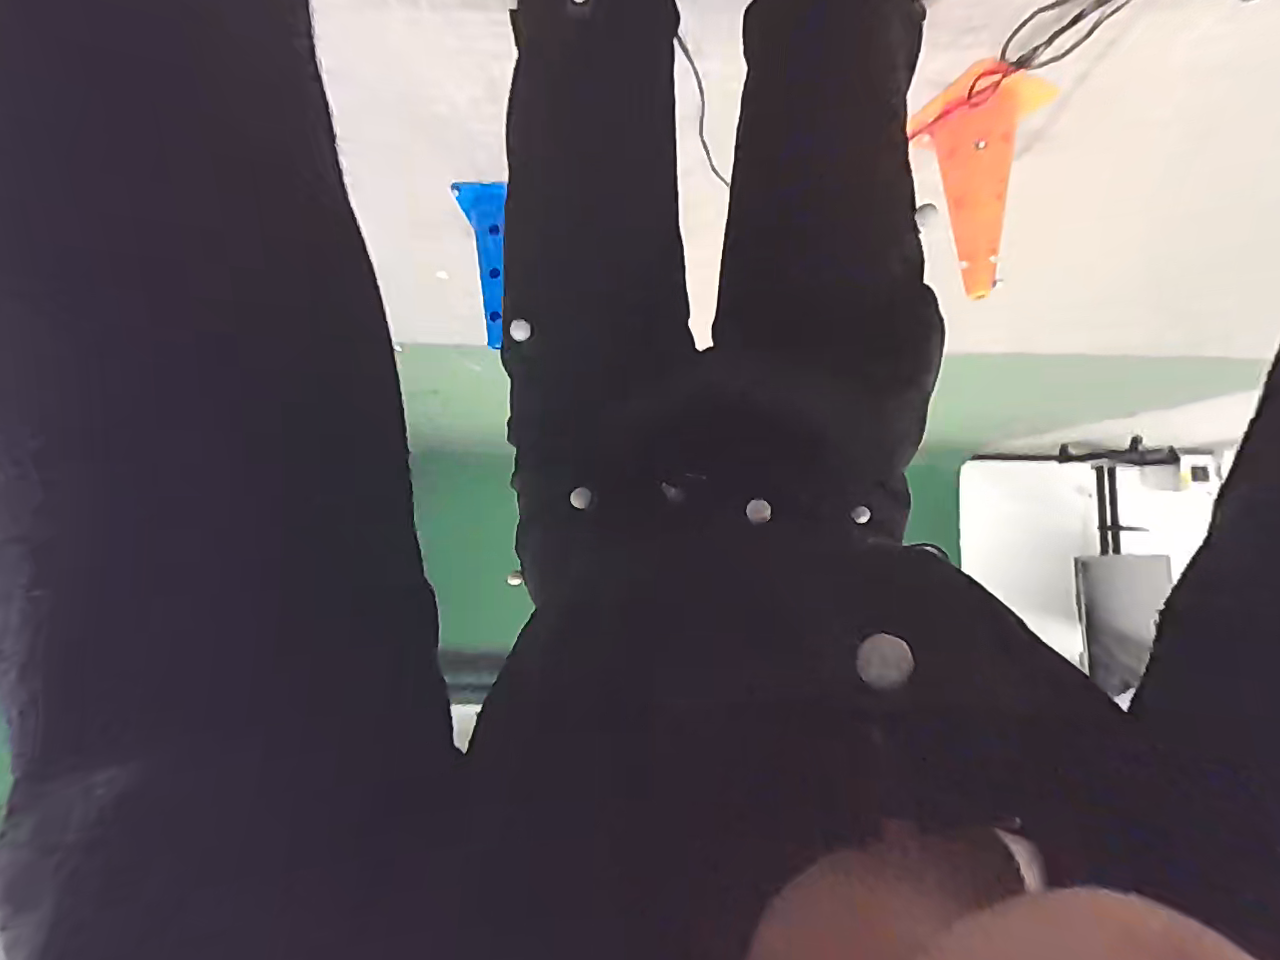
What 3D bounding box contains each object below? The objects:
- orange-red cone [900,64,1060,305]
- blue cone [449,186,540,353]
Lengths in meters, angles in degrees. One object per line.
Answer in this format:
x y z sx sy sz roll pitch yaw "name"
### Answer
0.616 -0.497 0.980 0.199 0.360 0.198 2 176 -20 "orange-red cone"
-0.355 -0.498 1.317 0.192 0.380 0.193 1 174 0 "blue cone"
